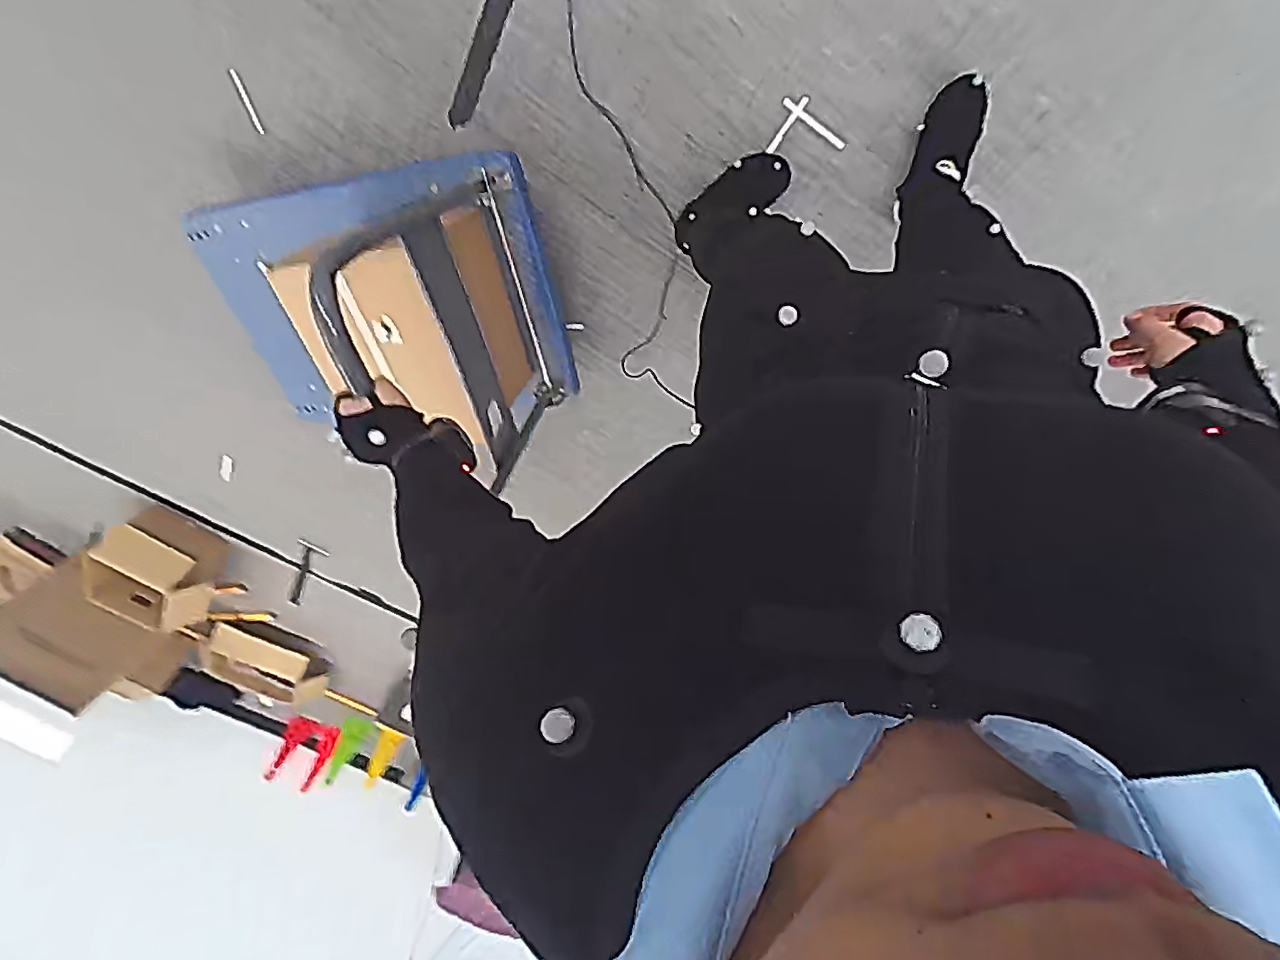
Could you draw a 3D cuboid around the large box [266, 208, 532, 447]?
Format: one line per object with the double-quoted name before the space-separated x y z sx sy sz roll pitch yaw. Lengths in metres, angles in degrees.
"large box" -0.477 -0.326 1.179 0.320 0.320 0.408 -2 127 13
